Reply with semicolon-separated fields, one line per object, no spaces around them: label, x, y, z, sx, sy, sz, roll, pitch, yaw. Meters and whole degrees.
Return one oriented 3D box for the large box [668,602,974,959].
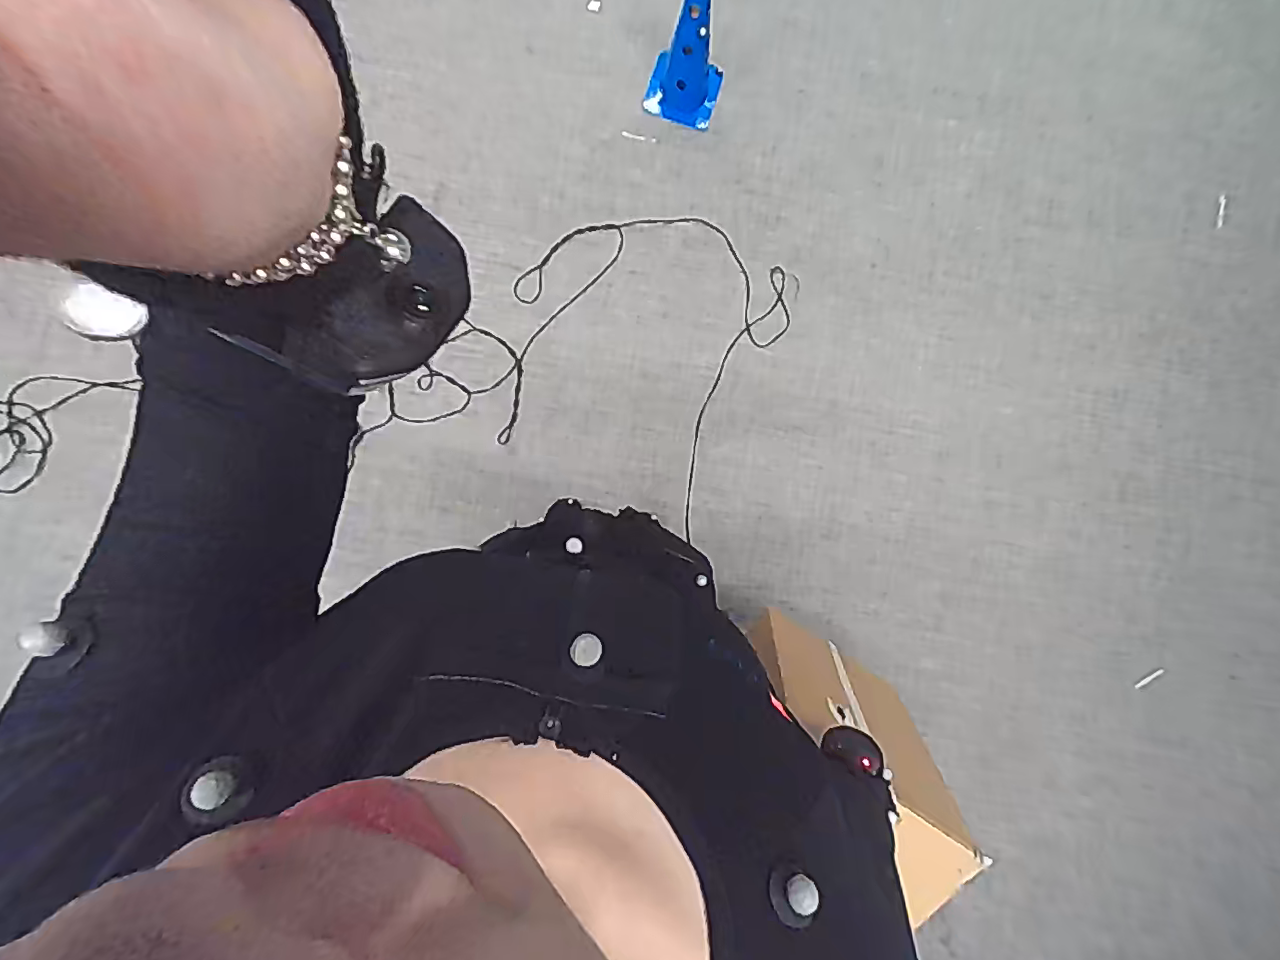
large box;0.268;0.494;0.948;0.320;0.408;0.320;32;106;0

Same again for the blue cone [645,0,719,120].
blue cone;0.131;-1.159;1.410;0.193;0.380;0.192;19;86;-2
